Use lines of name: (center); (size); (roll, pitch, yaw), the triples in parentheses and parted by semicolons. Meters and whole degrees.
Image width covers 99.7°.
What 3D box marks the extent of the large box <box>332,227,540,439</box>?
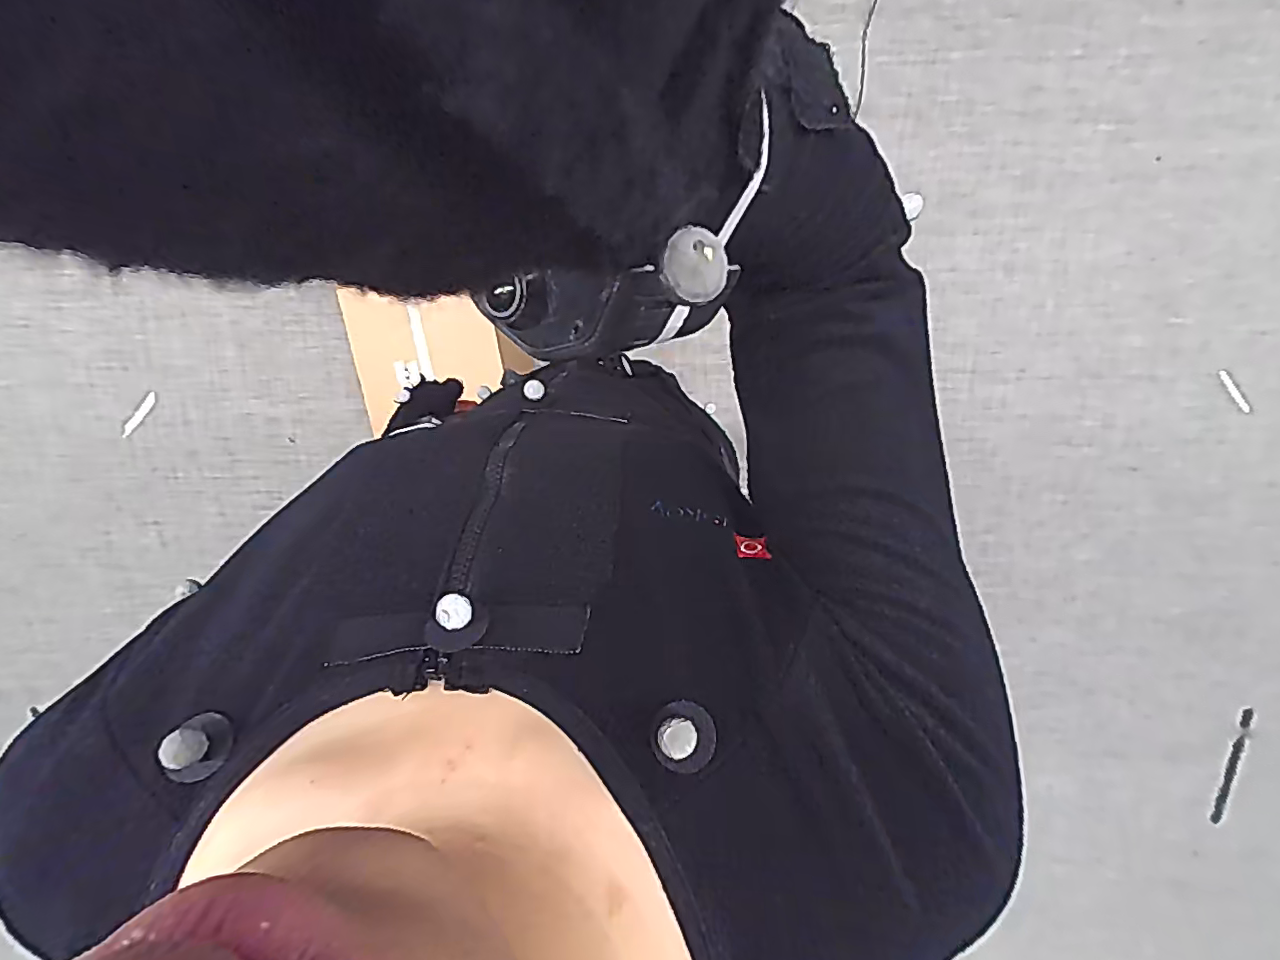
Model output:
large box: (-0.454, -0.340, 1.297); (0.320, 0.320, 0.408); (-8, 103, 5)
